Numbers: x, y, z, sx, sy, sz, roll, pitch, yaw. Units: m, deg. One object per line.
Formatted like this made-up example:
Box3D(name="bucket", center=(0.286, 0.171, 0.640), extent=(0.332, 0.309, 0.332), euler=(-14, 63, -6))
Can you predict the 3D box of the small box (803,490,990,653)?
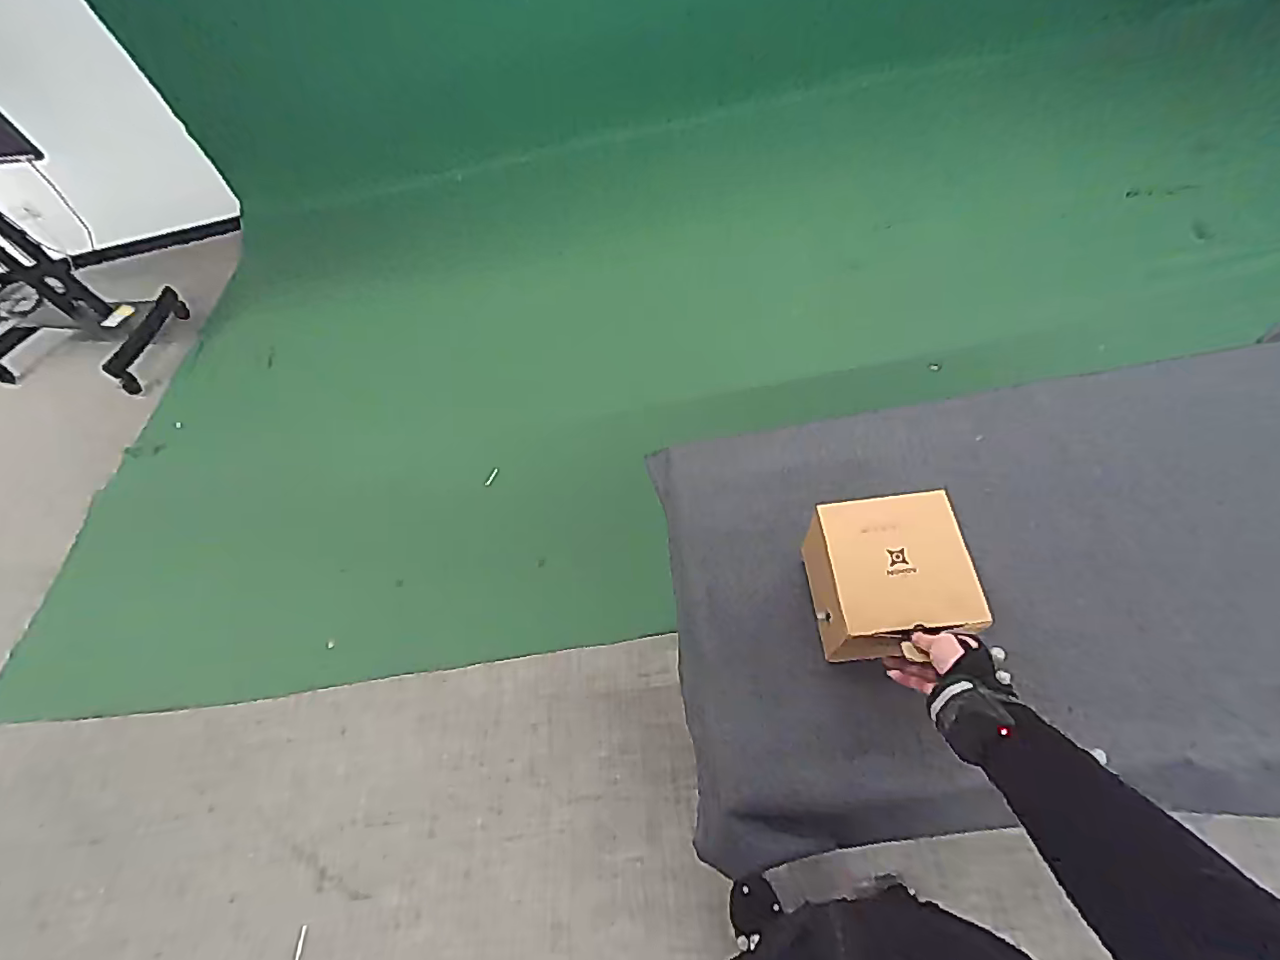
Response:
Box3D(name="small box", center=(0.333, 0.135, 0.743), extent=(0.168, 0.176, 0.179), euler=(-7, 61, 4))
